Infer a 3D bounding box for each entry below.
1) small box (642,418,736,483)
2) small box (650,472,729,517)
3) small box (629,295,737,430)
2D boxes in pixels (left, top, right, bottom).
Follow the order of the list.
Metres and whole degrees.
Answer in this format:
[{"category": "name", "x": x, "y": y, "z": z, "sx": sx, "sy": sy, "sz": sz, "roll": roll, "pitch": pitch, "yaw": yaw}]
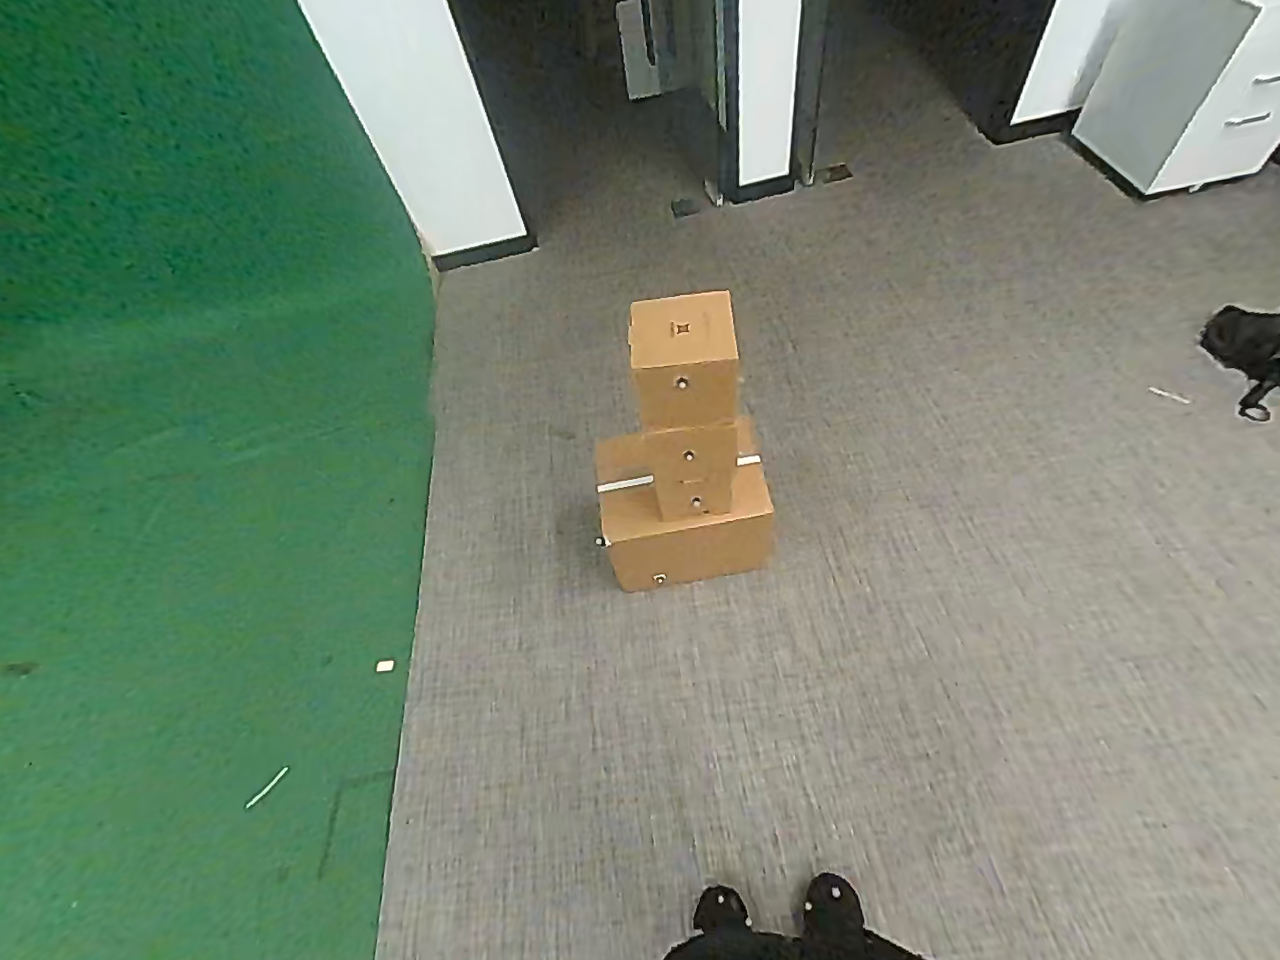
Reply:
[{"category": "small box", "x": 0.098, "y": -0.109, "z": 1.099, "sx": 0.179, "sy": 0.176, "sz": 0.168, "roll": -6, "pitch": 57, "yaw": 6}, {"category": "small box", "x": 0.111, "y": -0.027, "z": 1.242, "sx": 0.168, "sy": 0.176, "sz": 0.179, "roll": -8, "pitch": 57, "yaw": 4}, {"category": "small box", "x": 0.078, "y": -0.203, "z": 0.969, "sx": 0.179, "sy": 0.176, "sz": 0.168, "roll": -4, "pitch": 58, "yaw": 6}]
